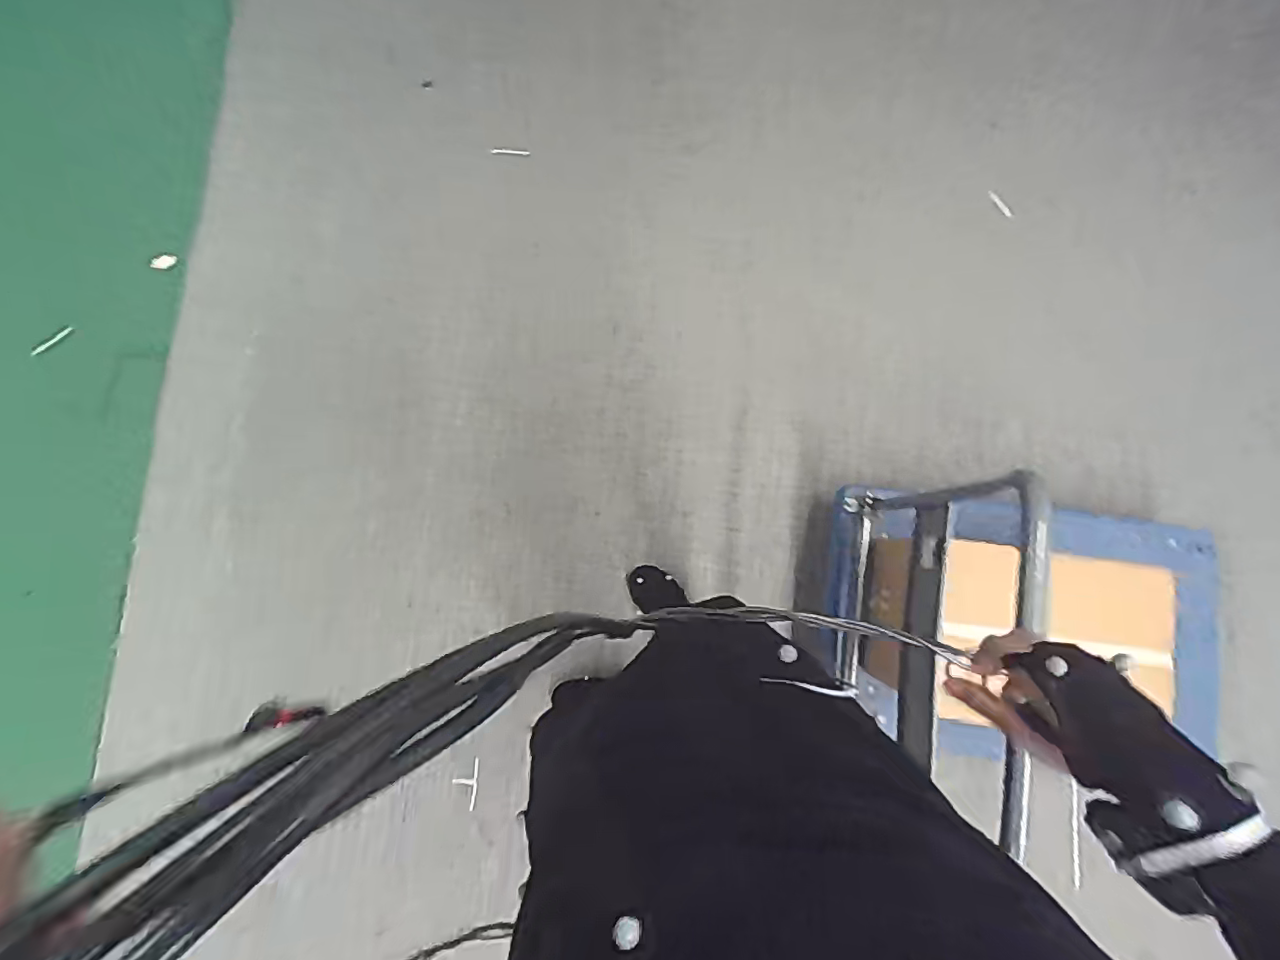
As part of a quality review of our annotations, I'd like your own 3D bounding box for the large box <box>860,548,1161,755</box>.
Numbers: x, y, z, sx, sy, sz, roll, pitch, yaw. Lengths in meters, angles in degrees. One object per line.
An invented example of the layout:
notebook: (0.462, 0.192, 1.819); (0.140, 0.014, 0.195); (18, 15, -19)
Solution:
large box: (0.713, 0.318, 1.103); (0.408, 0.320, 0.320); (9, 84, 1)
